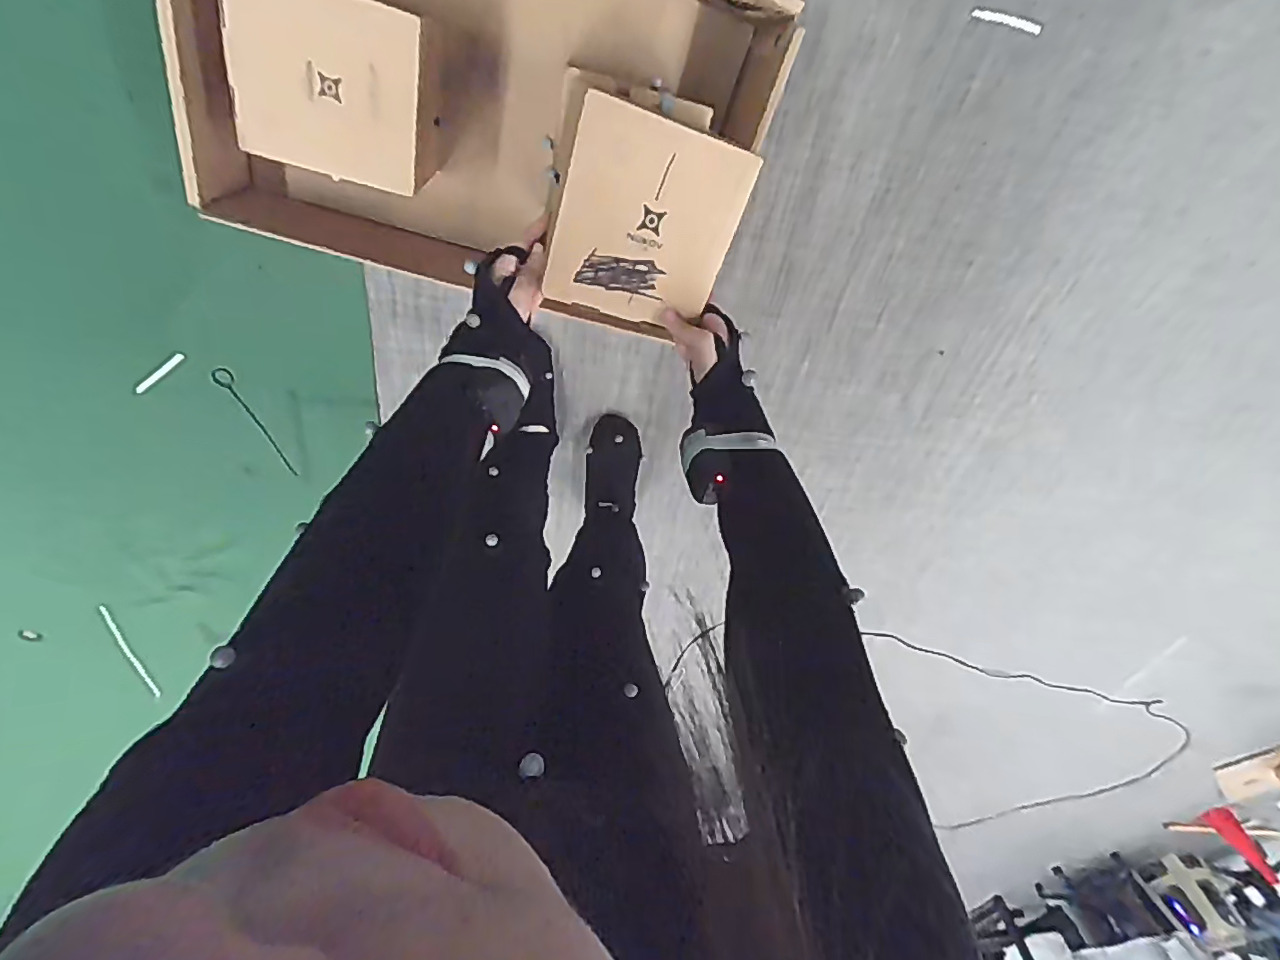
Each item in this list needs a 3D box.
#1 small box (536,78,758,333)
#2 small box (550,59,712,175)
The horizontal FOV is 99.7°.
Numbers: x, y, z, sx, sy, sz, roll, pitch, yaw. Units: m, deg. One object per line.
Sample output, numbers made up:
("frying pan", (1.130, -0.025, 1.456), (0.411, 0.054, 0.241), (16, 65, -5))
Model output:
("small box", (-0.007, -0.284, 0.561), (0.168, 0.176, 0.179), (10, 126, -18))
("small box", (-0.026, -0.399, 0.681), (0.168, 0.176, 0.179), (7, 128, -13))
